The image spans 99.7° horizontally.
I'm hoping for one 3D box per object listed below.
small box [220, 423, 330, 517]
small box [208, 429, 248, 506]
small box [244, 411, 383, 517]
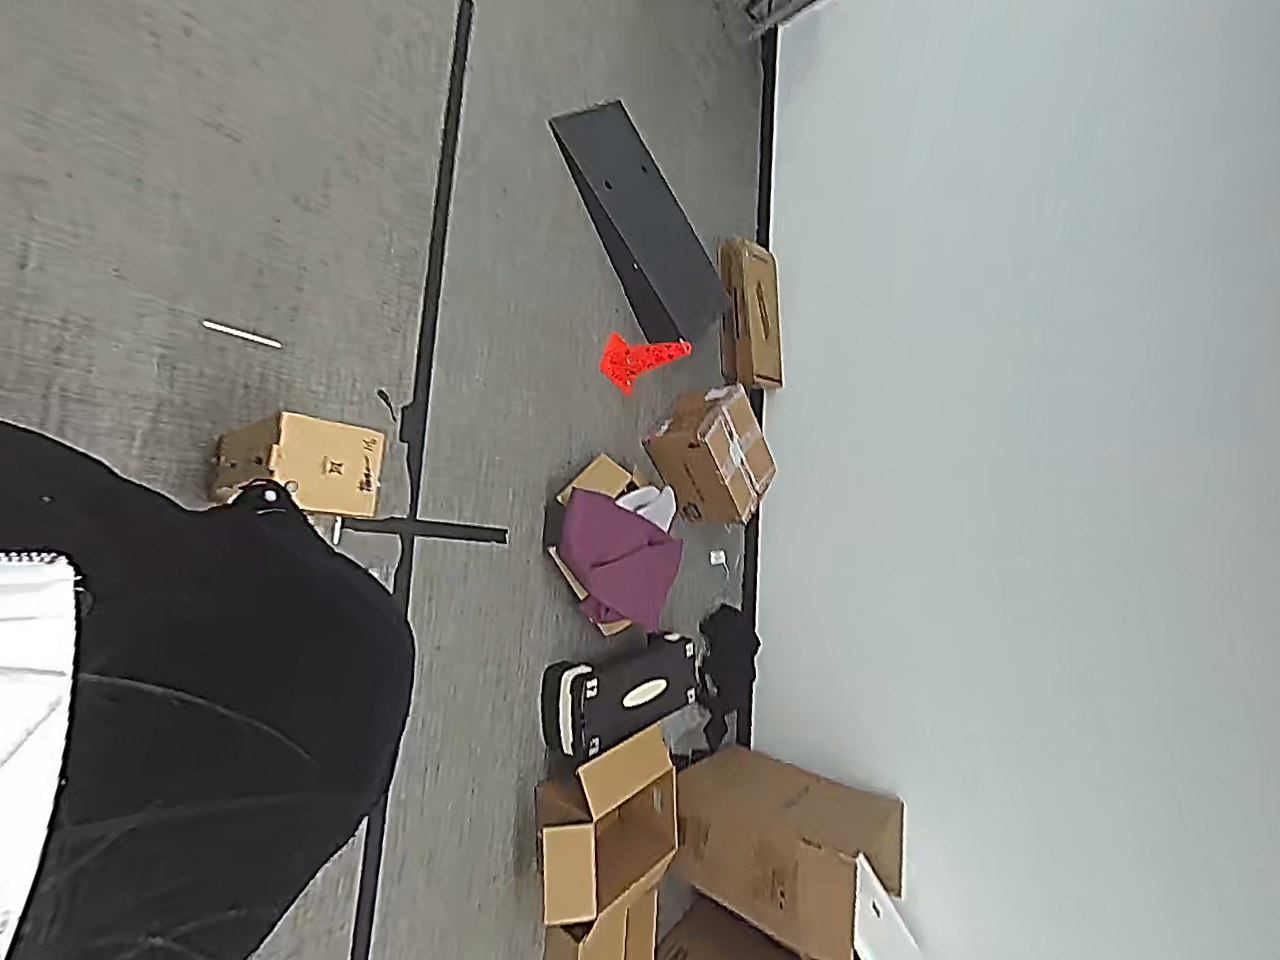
[{"bbox_3d":[-0.741,-0.014,1.131,0.179,0.176,0.168,13,77,-48],"label":"small box"},{"bbox_3d":[-0.860,-0.015,1.247,0.179,0.176,0.168,12,78,-47],"label":"small box"},{"bbox_3d":[-0.619,-0.021,1.023,0.179,0.176,0.168,14,77,-47],"label":"small box"}]
